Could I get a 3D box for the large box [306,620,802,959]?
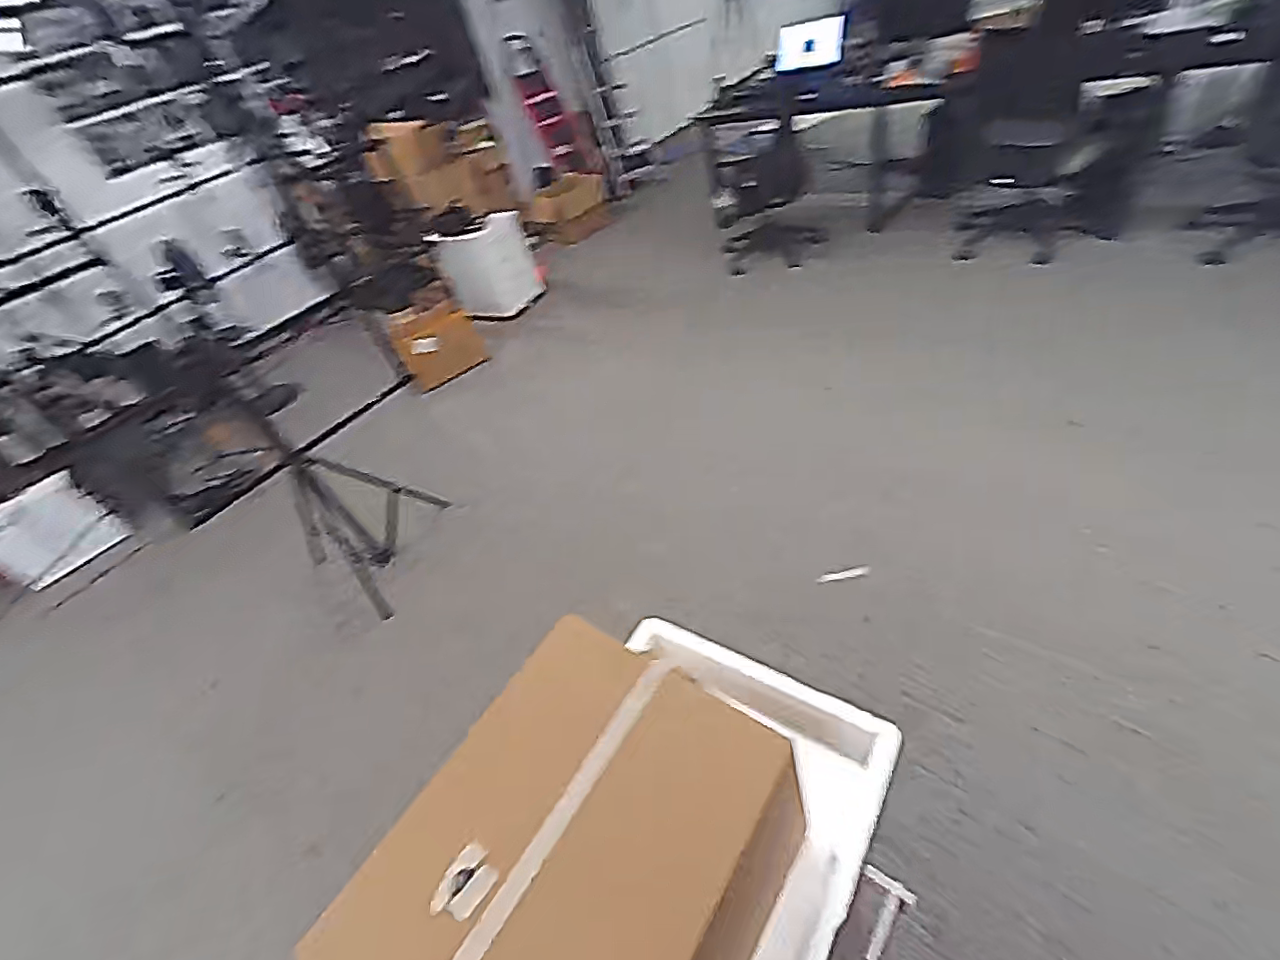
[{"bbox_3d":[-0.043,0.446,0.603,0.320,0.320,0.408,17,54,35],"label":"large box"}]
